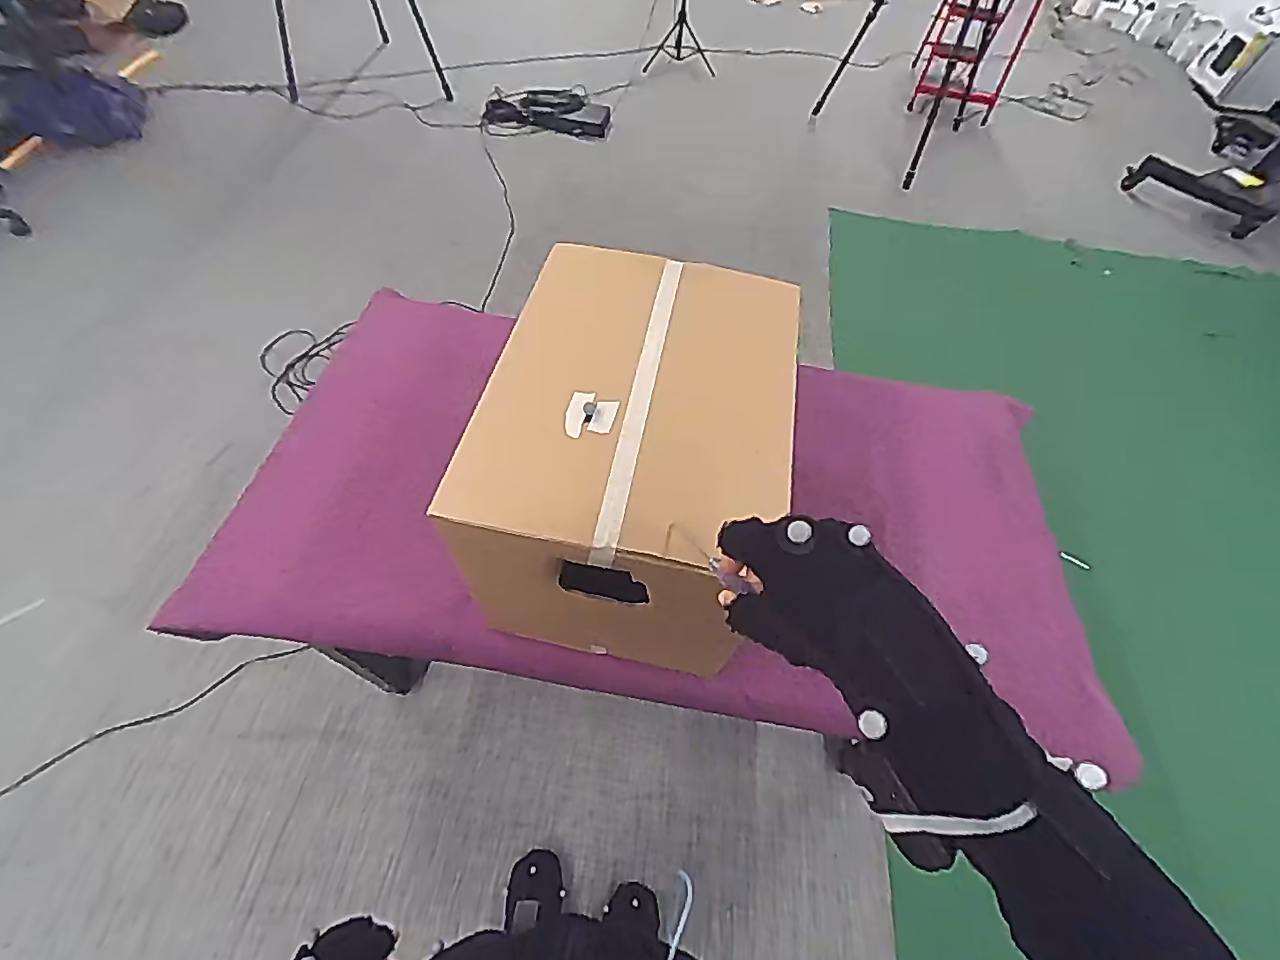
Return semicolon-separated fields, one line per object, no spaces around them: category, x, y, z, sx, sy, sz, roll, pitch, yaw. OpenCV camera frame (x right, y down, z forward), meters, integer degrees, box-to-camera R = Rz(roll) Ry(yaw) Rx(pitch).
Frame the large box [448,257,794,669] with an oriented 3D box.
large box;-0.003;-0.016;0.709;0.320;0.320;0.408;11;58;3
